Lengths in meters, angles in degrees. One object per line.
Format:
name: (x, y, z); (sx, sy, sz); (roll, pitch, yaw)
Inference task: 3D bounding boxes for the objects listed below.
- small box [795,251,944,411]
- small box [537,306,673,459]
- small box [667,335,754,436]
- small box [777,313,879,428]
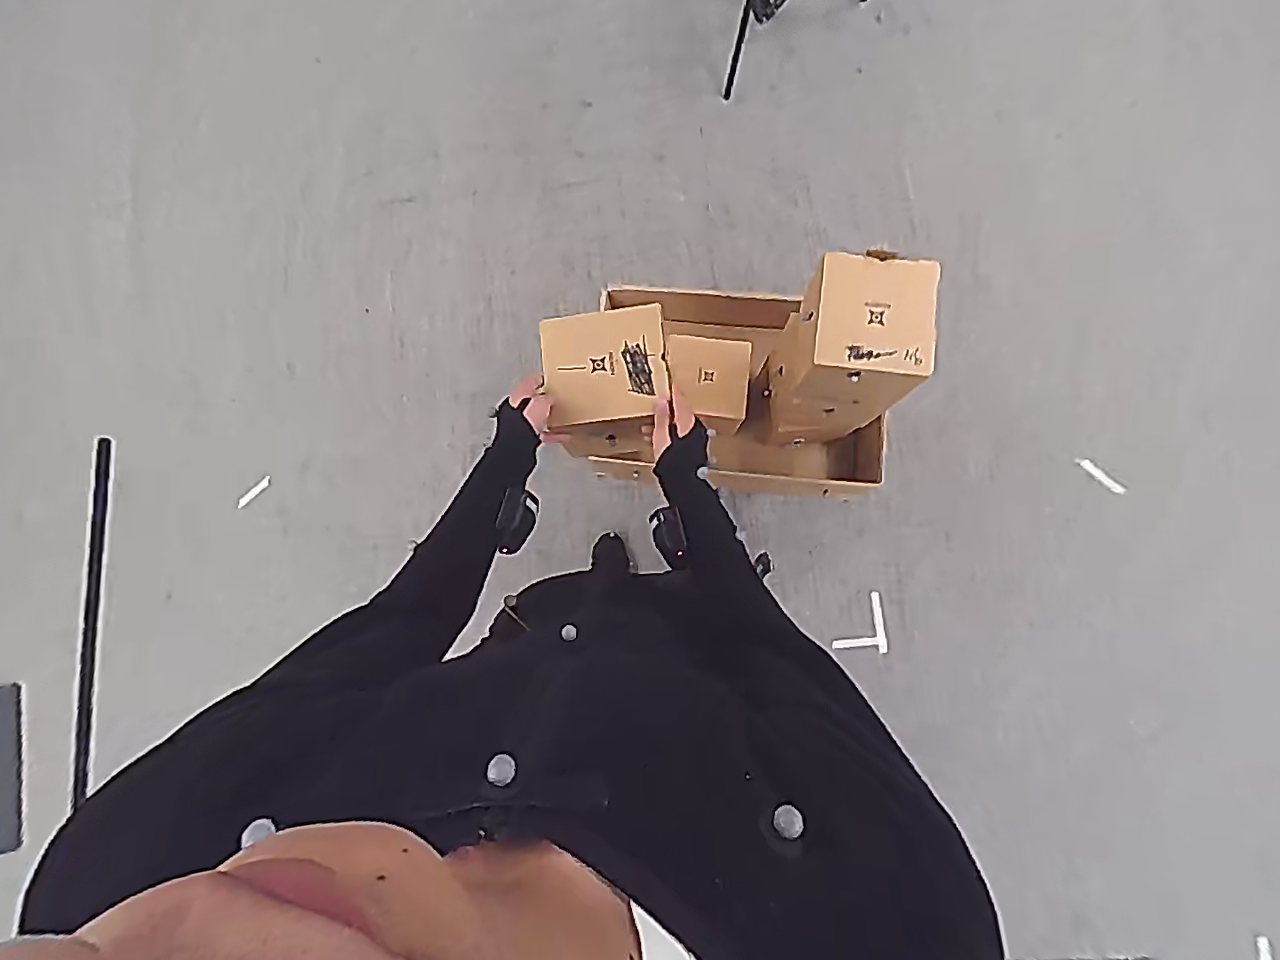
small box: (0.344, -0.222, 0.837); (0.168, 0.176, 0.179); (8, 82, 7)
small box: (-0.045, -0.137, 0.816); (0.179, 0.176, 0.168); (-8, 77, 4)
small box: (0.142, -0.198, 1.179); (0.179, 0.176, 0.168); (7, 82, 4)
small box: (0.352, -0.195, 0.999); (0.179, 0.176, 0.168); (2, 82, 4)
